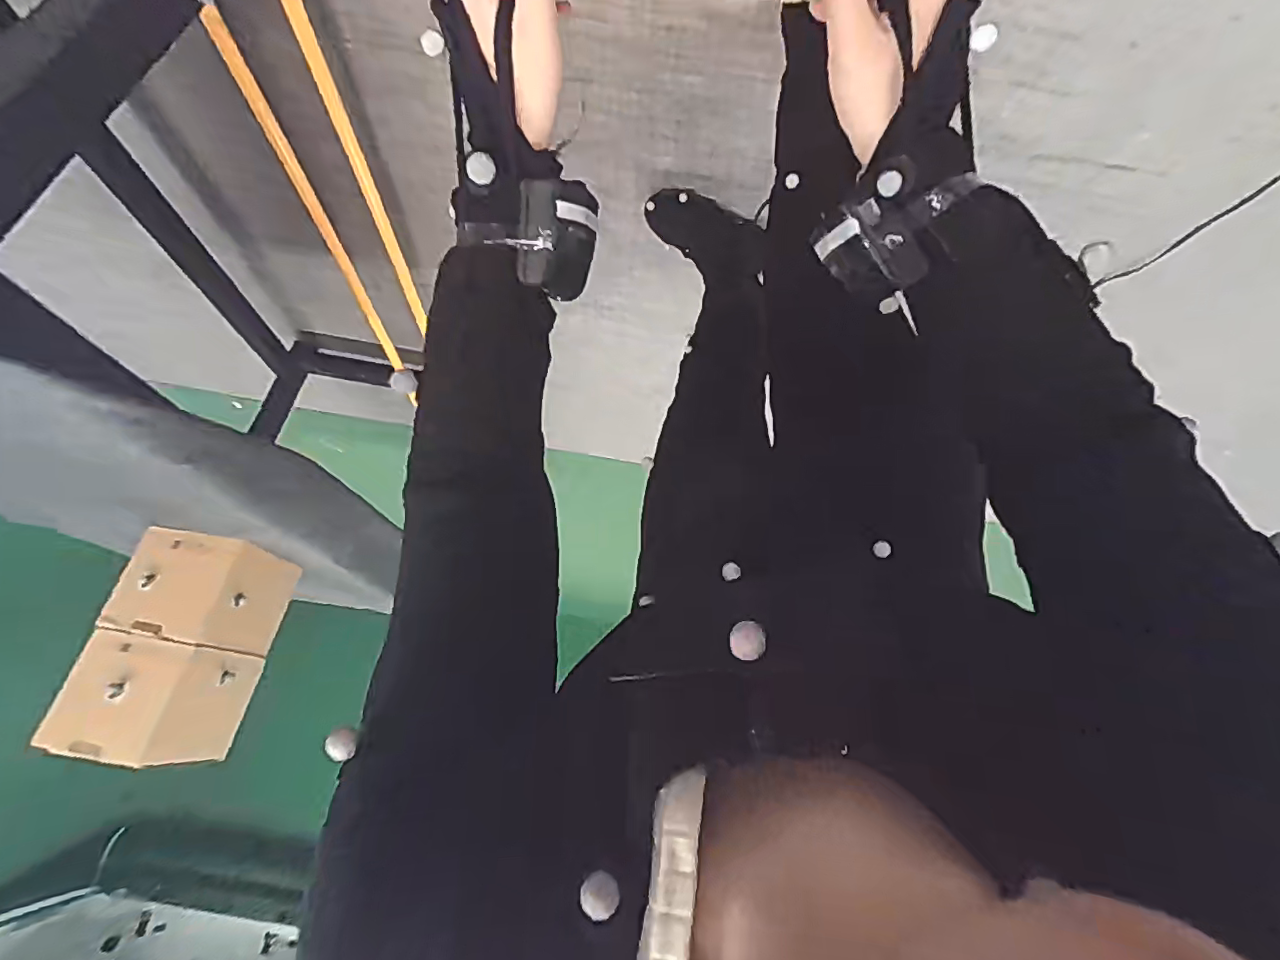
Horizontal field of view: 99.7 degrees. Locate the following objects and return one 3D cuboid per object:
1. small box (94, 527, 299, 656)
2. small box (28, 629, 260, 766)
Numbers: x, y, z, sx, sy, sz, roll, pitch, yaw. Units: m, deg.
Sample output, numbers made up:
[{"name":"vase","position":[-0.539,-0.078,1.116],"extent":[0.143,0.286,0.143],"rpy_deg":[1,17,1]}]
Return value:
[{"name":"small box","position":[-0.728,0.189,0.912],"extent":[0.168,0.176,0.179],"rpy_deg":[9,157,4]},{"name":"small box","position":[-0.755,0.339,0.850],"extent":[0.168,0.176,0.179],"rpy_deg":[9,156,3]}]
